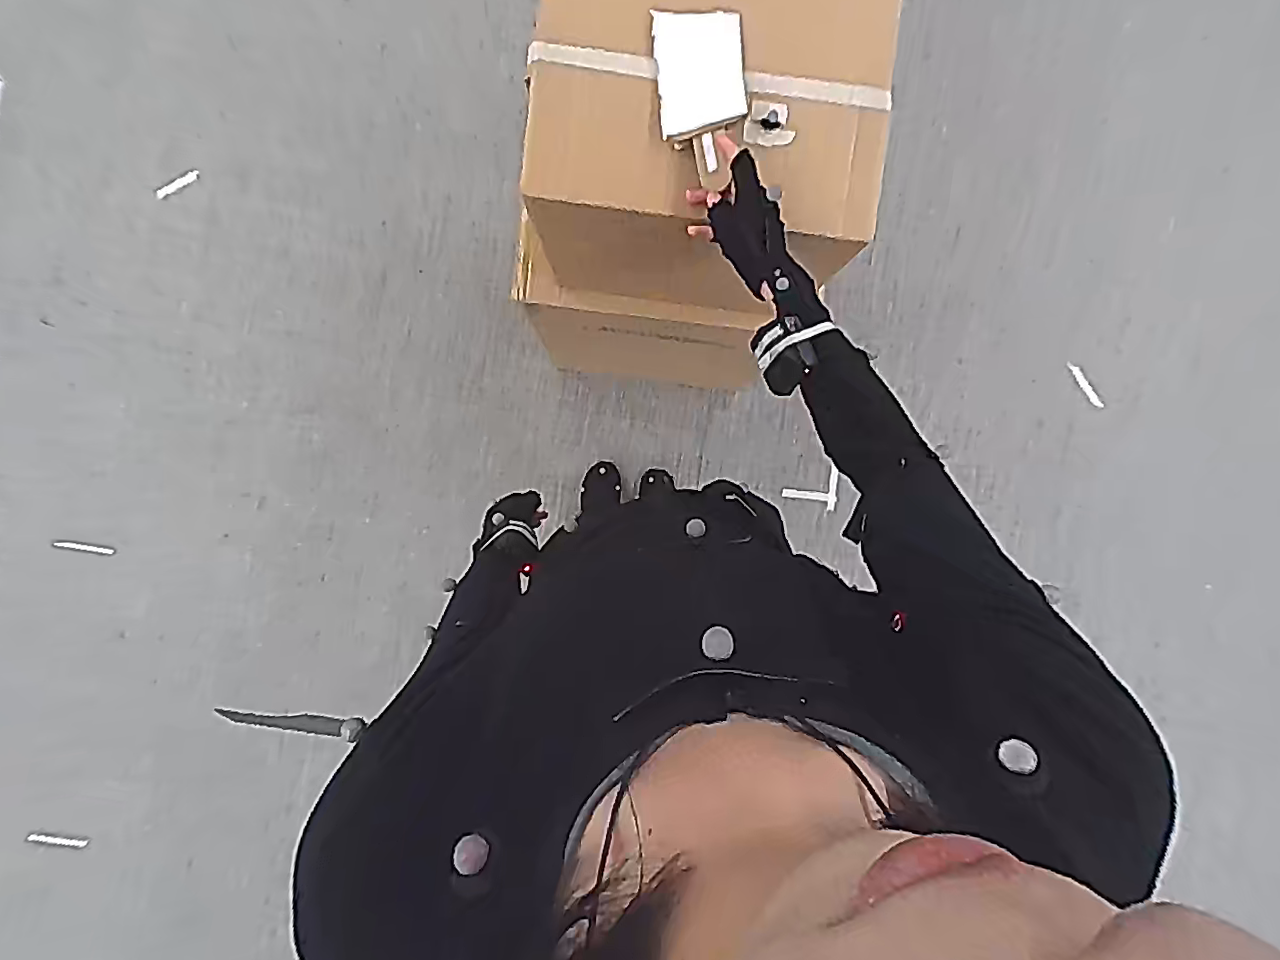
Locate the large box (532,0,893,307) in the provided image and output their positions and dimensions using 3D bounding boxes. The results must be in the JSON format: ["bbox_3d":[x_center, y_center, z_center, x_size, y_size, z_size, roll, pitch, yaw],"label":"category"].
[{"bbox_3d":[0.077,-0.462,0.769,0.408,0.320,0.320,6,92,-3],"label":"large box"}]
